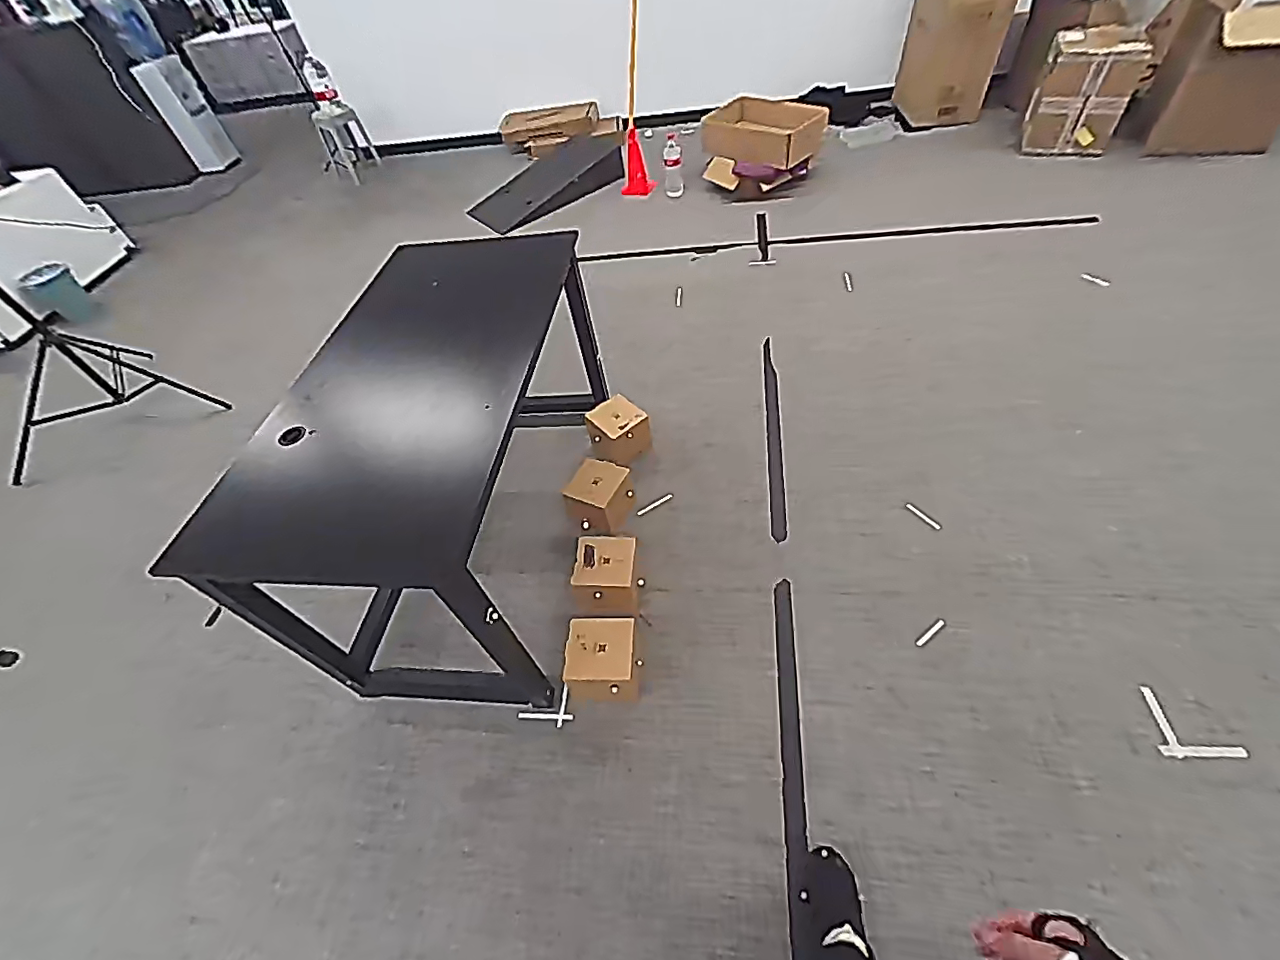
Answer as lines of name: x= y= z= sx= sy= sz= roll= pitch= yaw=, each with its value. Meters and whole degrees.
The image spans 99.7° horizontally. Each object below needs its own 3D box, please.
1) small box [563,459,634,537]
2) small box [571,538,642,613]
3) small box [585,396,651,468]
small box: x=-0.131 y=0.062 z=1.822 sx=0.168 sy=0.176 sz=0.179 roll=17 pitch=56 yaw=23
small box: x=-0.095 y=0.288 z=1.626 sx=0.179 sy=0.176 sz=0.168 roll=0 pitch=51 yaw=8
small box: x=-0.078 y=-0.175 z=2.004 sx=0.168 sy=0.176 sz=0.179 roll=-37 pitch=54 yaw=-20
